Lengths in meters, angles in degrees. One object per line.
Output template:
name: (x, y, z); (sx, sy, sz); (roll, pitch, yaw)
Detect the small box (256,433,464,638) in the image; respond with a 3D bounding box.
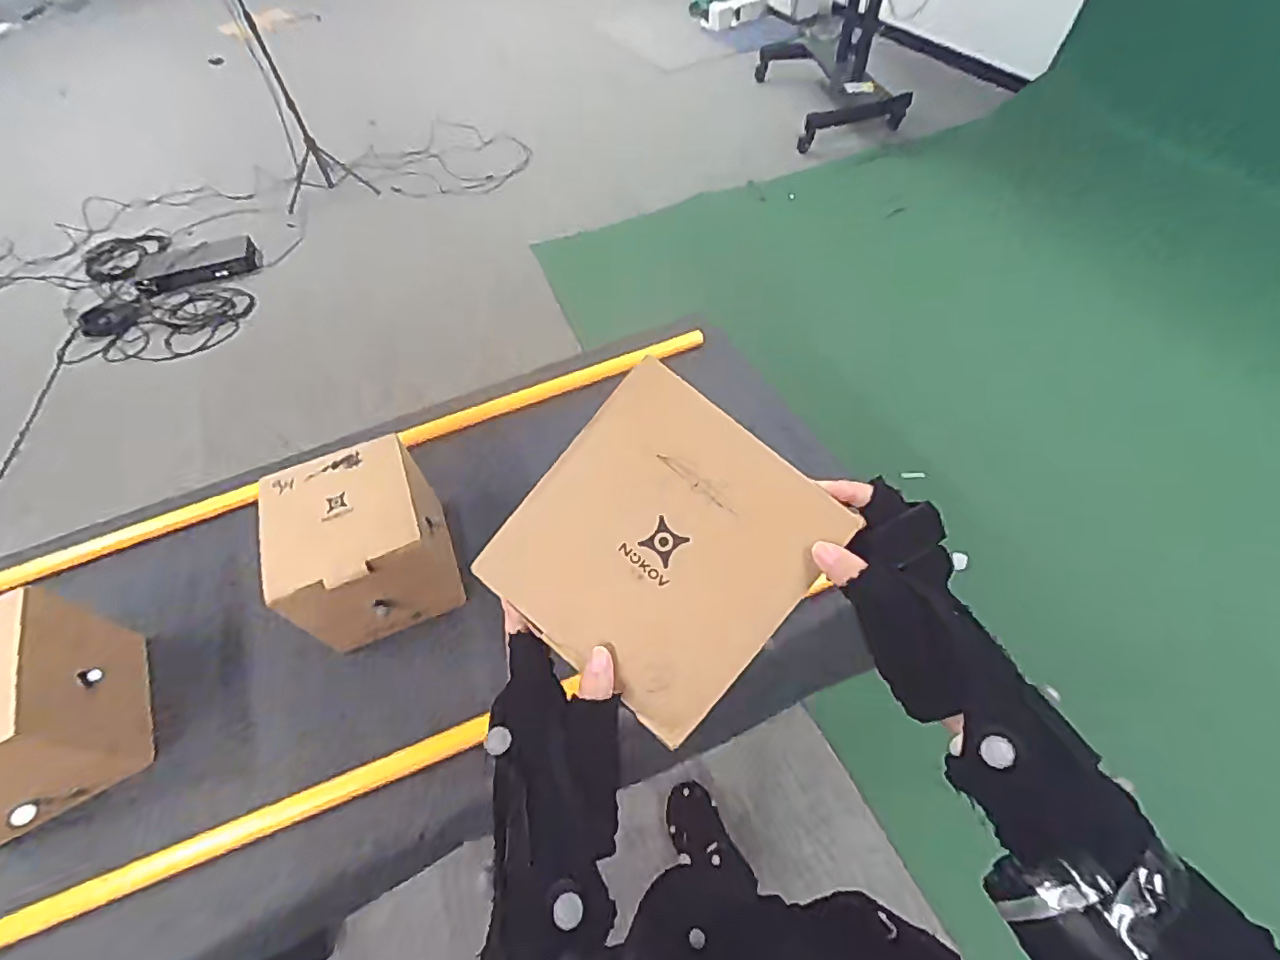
small box: (-0.343, 0.079, 0.682); (0.168, 0.176, 0.179); (-24, 57, -12)

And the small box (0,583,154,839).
small box: (-0.668, 0.248, 0.574); (0.168, 0.176, 0.179); (-27, 59, -16)
